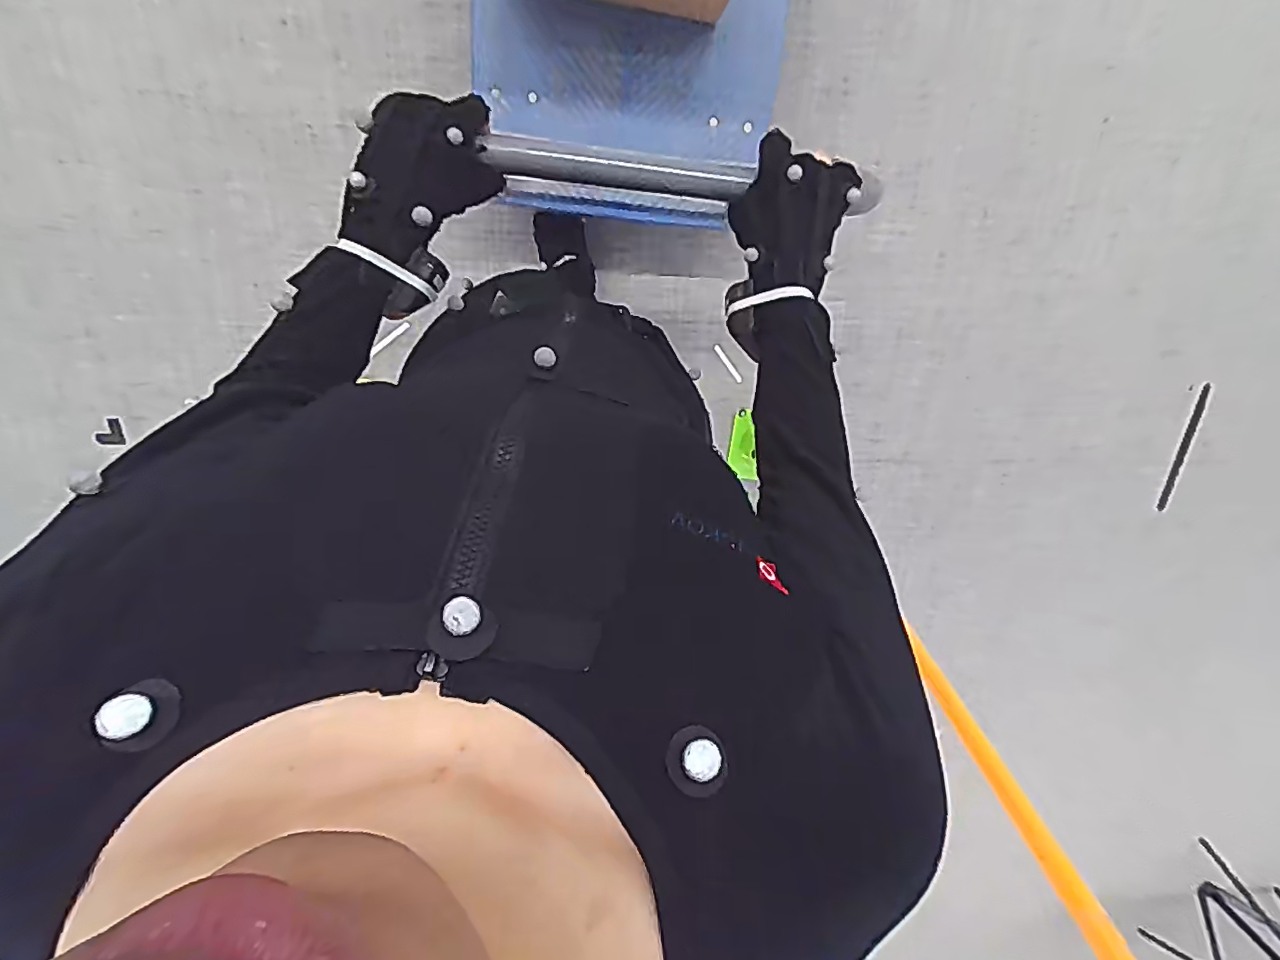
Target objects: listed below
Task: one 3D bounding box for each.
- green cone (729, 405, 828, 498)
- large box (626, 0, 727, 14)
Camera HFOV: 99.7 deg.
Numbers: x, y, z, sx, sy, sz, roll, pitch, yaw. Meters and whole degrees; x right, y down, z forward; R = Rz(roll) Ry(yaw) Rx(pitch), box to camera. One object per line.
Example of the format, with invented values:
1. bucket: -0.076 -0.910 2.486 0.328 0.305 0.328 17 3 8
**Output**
1. green cone: 0.367 -0.041 1.334 0.202 0.368 0.200 4 111 -7
2. large box: -0.021 -0.956 0.792 0.408 0.320 0.320 6 112 -6
